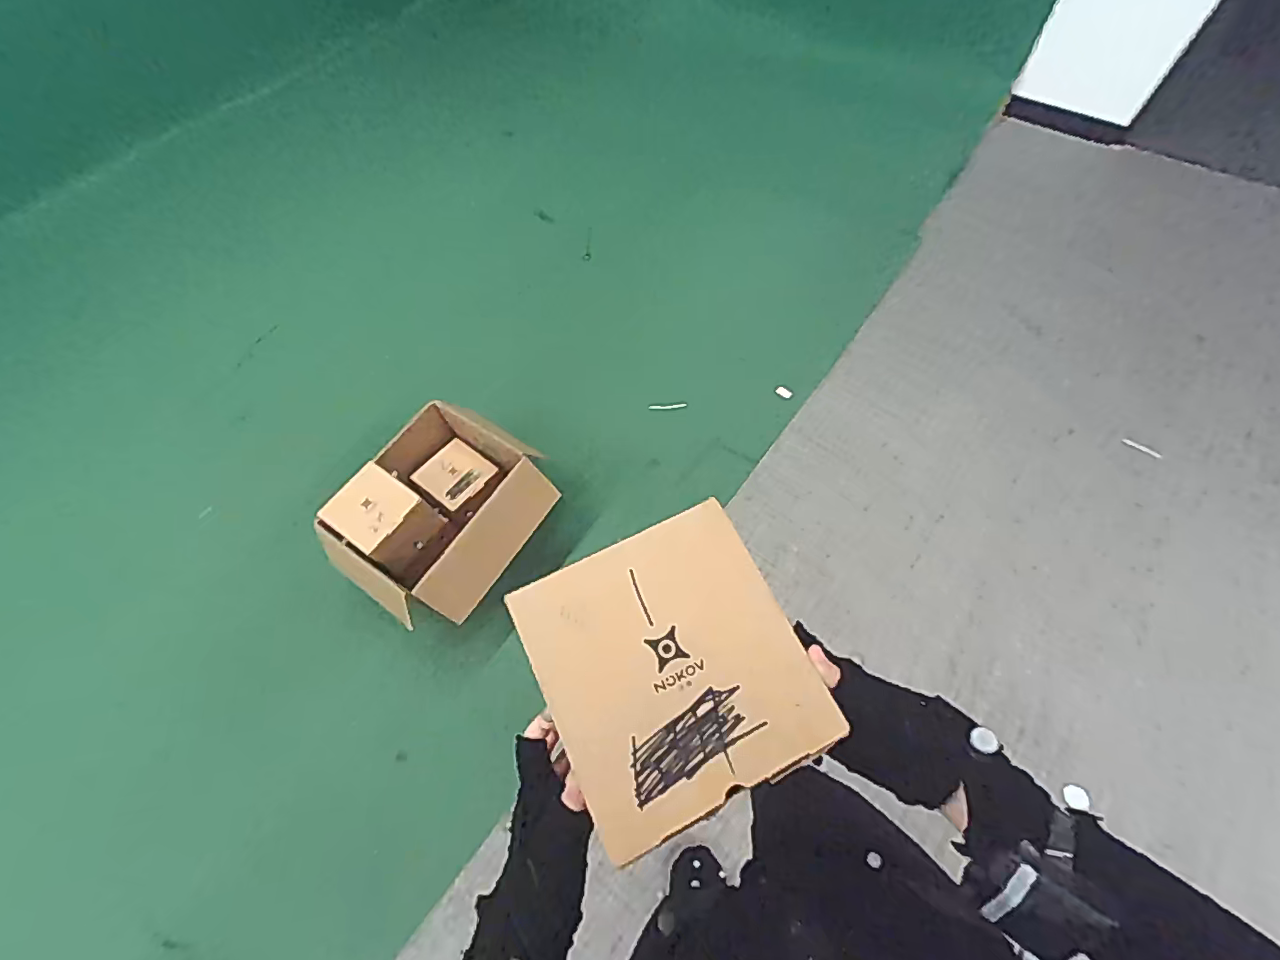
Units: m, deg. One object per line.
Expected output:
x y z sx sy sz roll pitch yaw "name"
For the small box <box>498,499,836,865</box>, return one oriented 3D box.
0.013 0.145 0.423 0.168 0.176 0.179 -25 71 -10 "small box"
